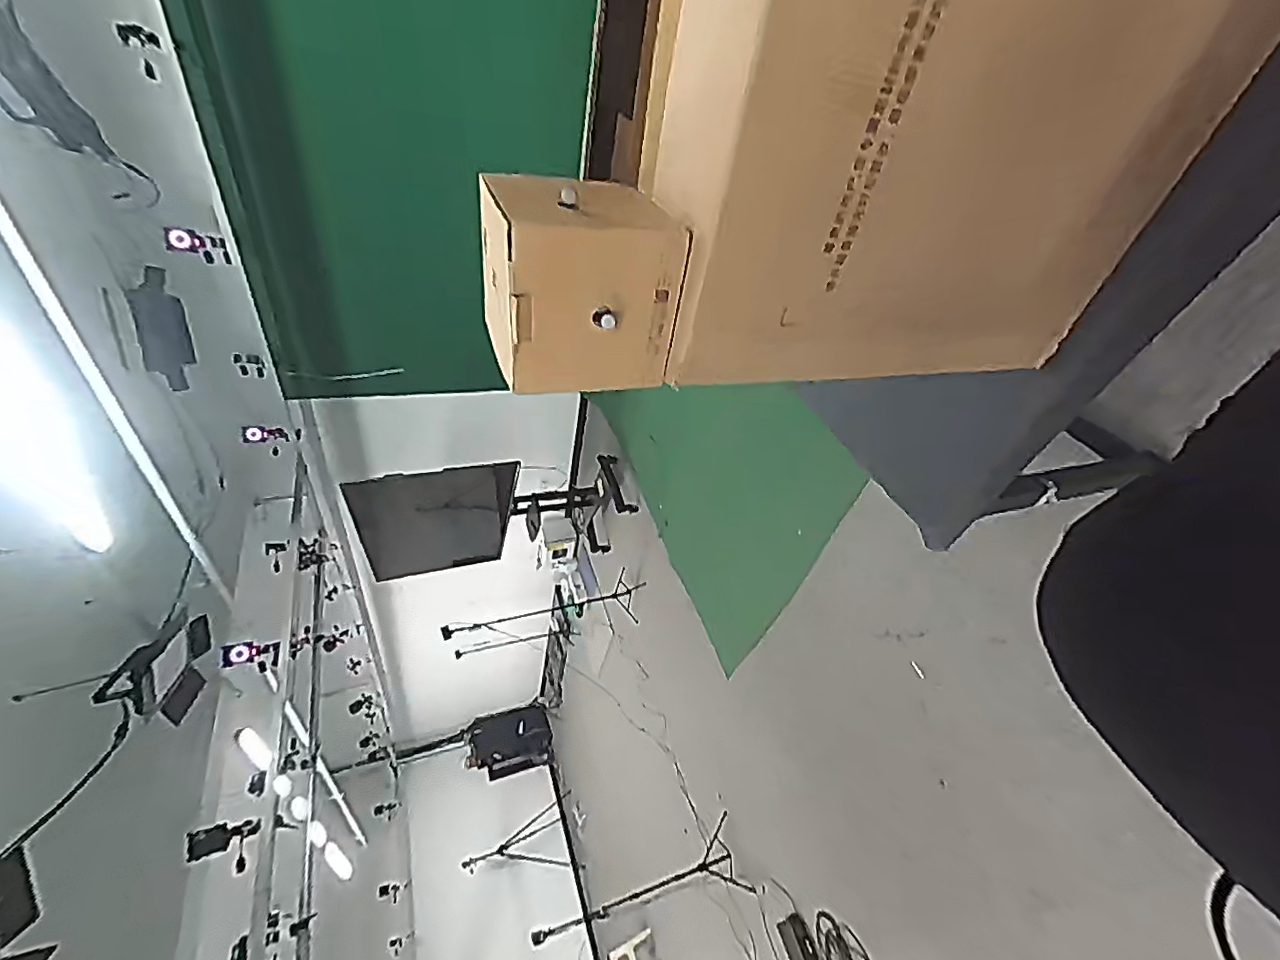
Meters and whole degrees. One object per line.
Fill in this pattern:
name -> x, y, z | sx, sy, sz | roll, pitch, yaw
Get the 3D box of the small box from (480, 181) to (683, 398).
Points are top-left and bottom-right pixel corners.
small box -> -0.069, -0.210, 0.586 | 0.179, 0.176, 0.168 | -120, 30, -43
